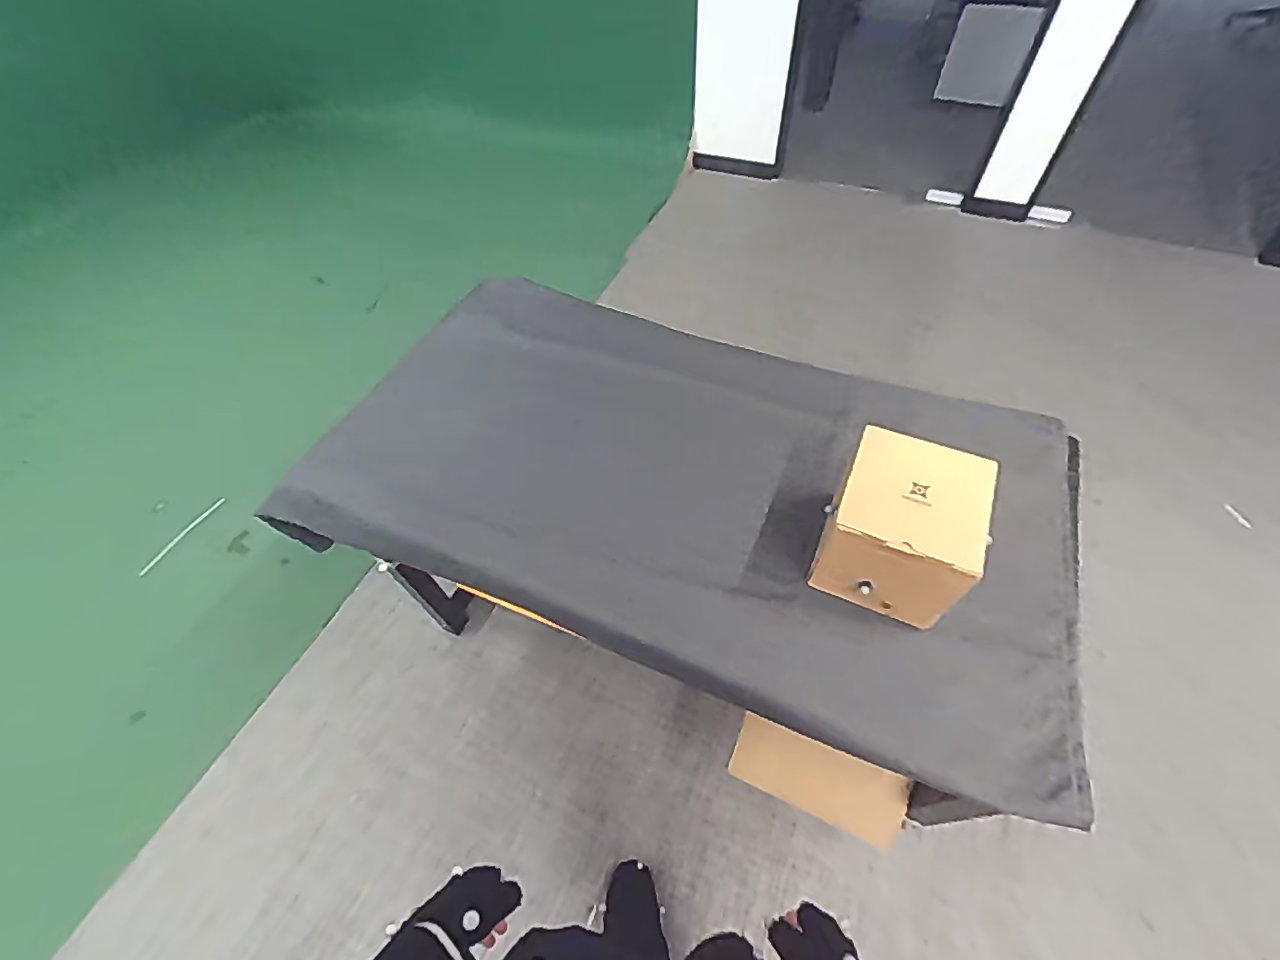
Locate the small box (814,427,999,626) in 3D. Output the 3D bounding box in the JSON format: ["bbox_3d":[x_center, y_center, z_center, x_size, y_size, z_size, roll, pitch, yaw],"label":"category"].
[{"bbox_3d":[0.348,0.065,0.728,0.168,0.176,0.179,20,58,17],"label":"small box"}]
